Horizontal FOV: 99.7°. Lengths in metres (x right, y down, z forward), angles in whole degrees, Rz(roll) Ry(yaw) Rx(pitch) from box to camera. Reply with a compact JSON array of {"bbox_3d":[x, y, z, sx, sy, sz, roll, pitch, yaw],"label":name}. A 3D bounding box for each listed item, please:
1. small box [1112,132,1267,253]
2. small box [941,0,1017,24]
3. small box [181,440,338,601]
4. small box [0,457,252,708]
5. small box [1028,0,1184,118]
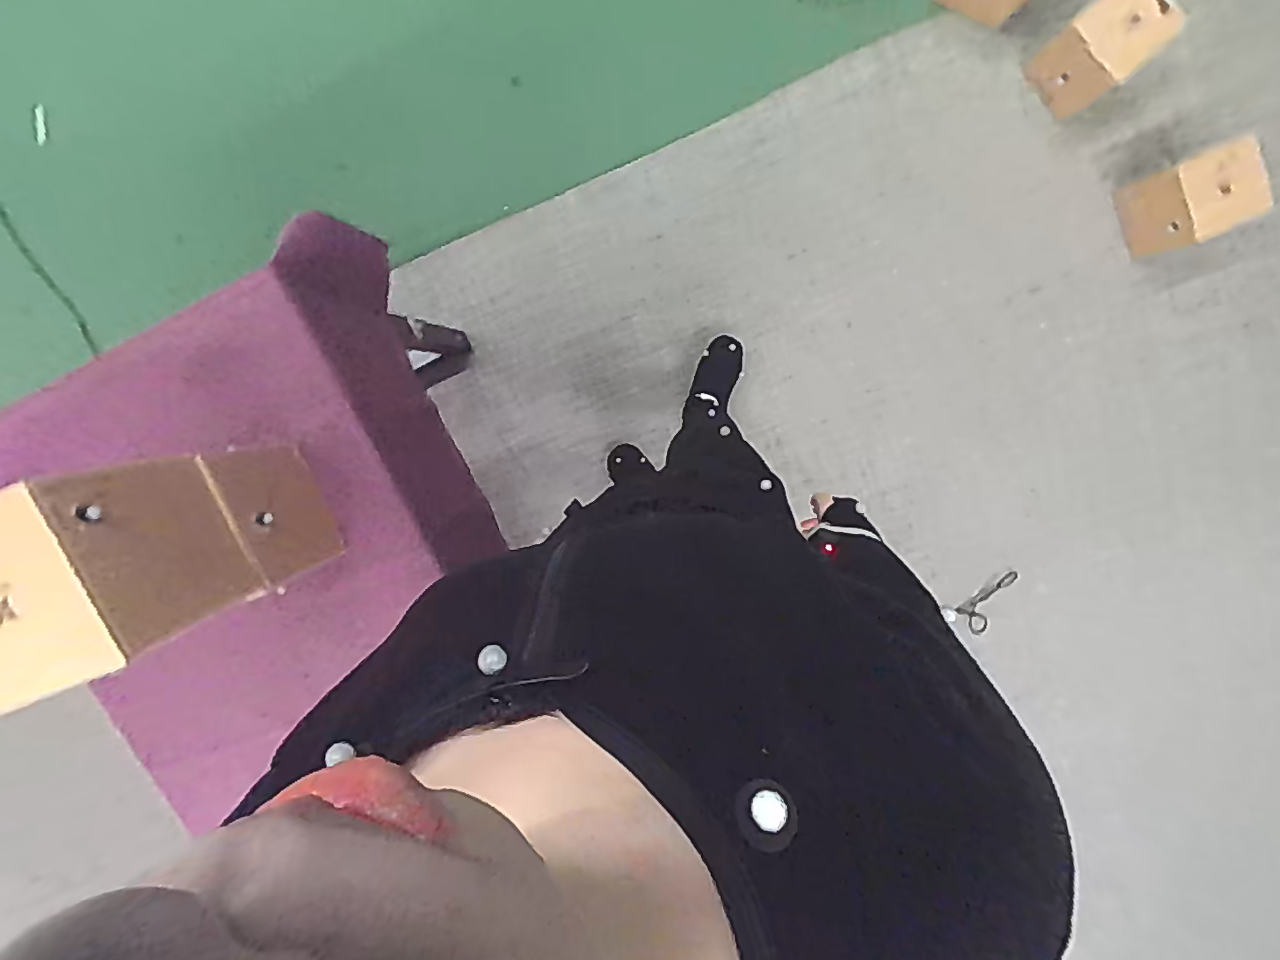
[{"bbox_3d":[1.248,-0.641,1.239,0.168,0.176,0.179,-24,99,6],"label":"small box"},{"bbox_3d":[0.781,-1.150,1.171,0.179,0.176,0.168,23,100,-3],"label":"small box"},{"bbox_3d":[-0.538,0.060,0.707,0.168,0.176,0.179,-18,99,5],"label":"small box"},{"bbox_3d":[-0.550,0.091,0.548,0.168,0.176,0.179,-21,99,5],"label":"small box"},{"bbox_3d":[1.009,-0.957,1.195,0.179,0.176,0.168,-40,96,9],"label":"small box"}]
